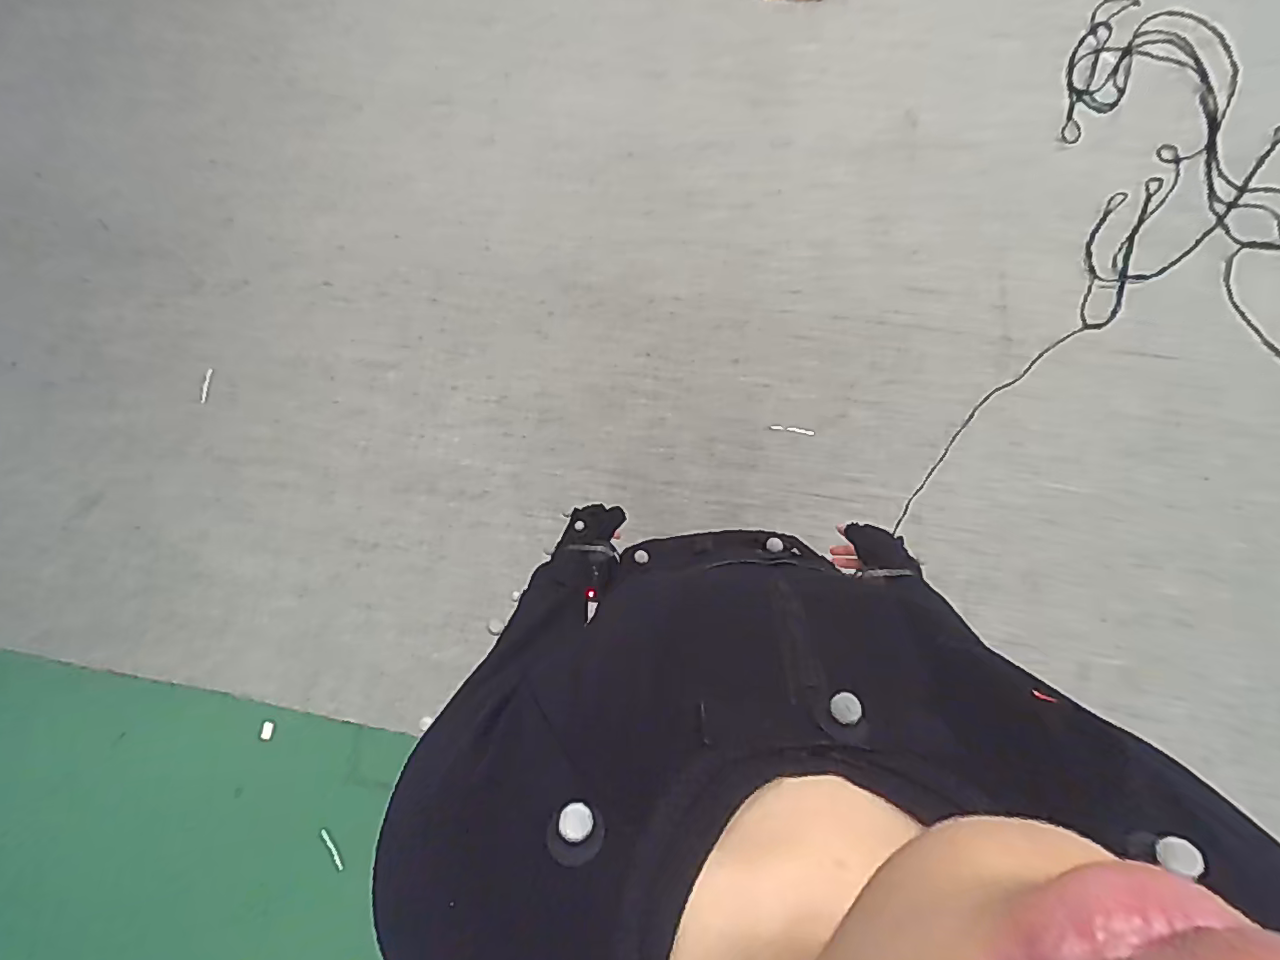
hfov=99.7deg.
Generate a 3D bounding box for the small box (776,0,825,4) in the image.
[{"bbox_3d":[0.477,-1.521,1.543,0.168,0.176,0.179,7,86,6],"label":"small box"}]
